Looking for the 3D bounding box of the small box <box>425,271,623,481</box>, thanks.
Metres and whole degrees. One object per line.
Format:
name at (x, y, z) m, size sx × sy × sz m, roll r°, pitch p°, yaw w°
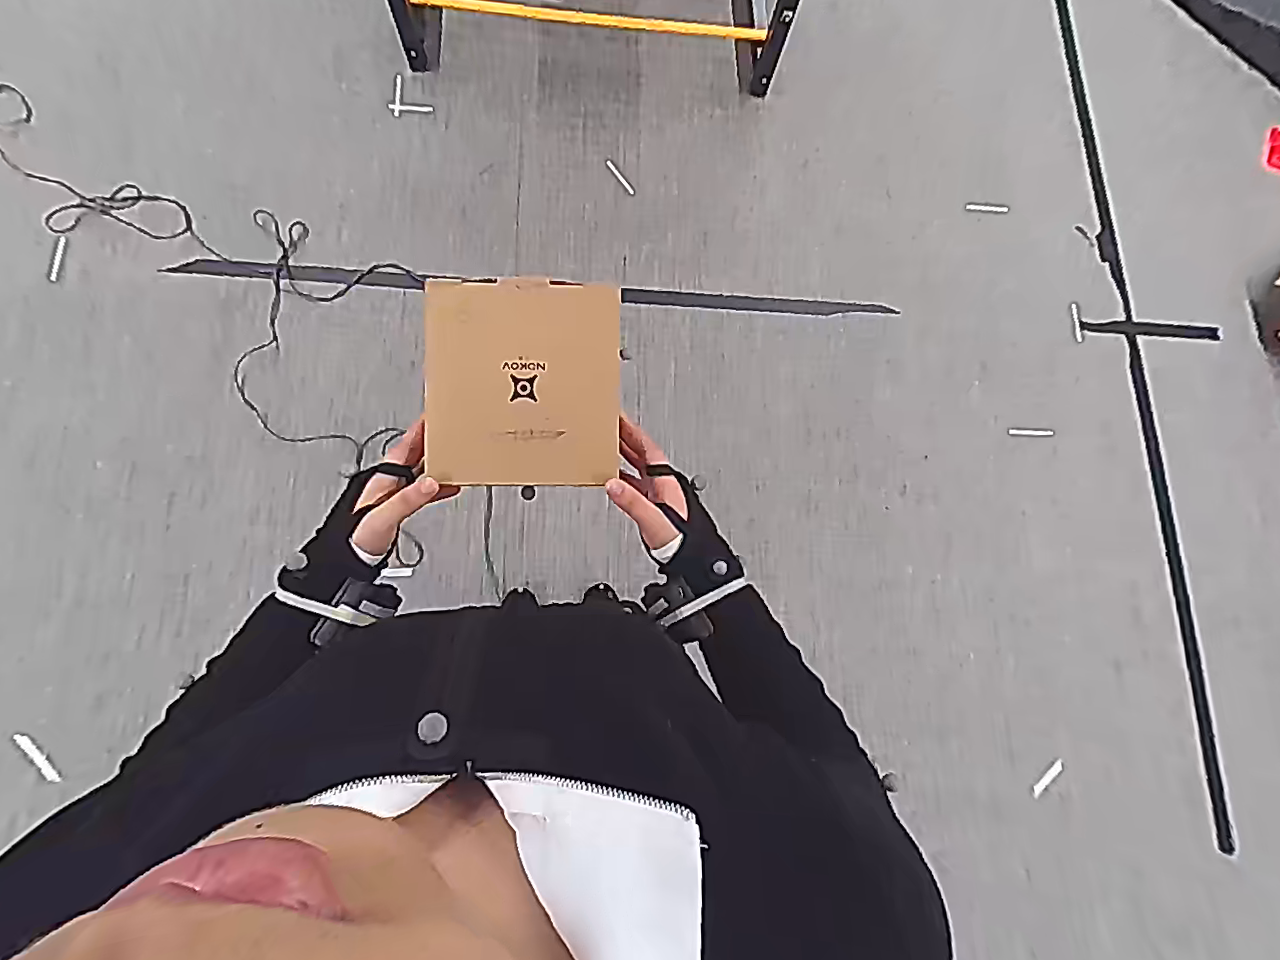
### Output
small box at (-0.103, -0.088, 0.537) m, size 0.168 × 0.176 × 0.179 m, roll 0°, pitch 91°, yaw -4°
